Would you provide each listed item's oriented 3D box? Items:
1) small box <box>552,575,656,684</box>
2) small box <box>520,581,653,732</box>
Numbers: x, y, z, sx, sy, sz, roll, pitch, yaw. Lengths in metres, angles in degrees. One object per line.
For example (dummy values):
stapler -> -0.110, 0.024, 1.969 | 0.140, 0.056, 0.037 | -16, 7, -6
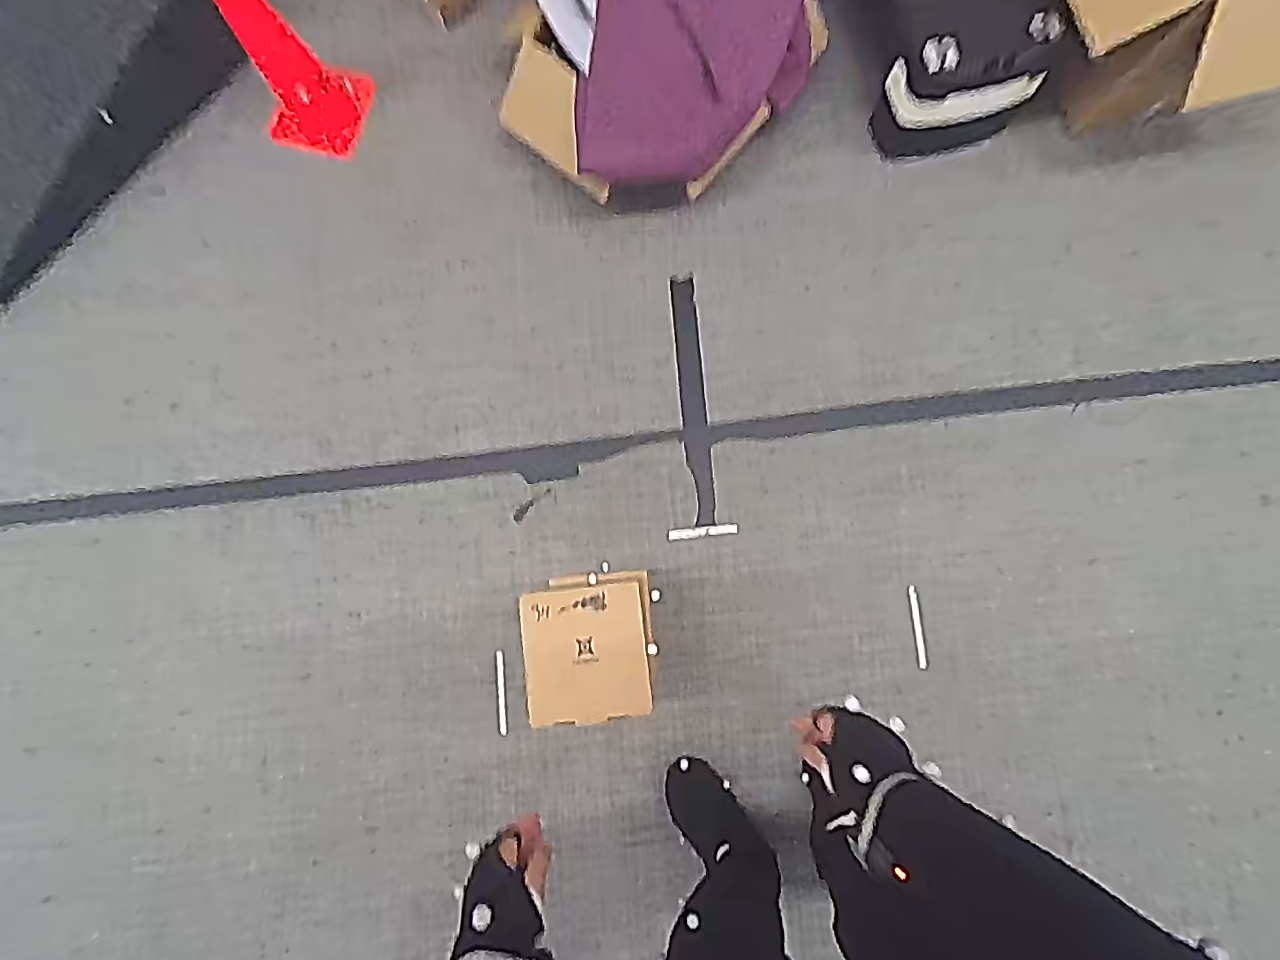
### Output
small box -> -0.060, 0.262, 0.966 | 0.168, 0.176, 0.179 | -5, 82, 2
small box -> -0.071, 0.250, 0.803 | 0.168, 0.176, 0.179 | -7, 82, 1
